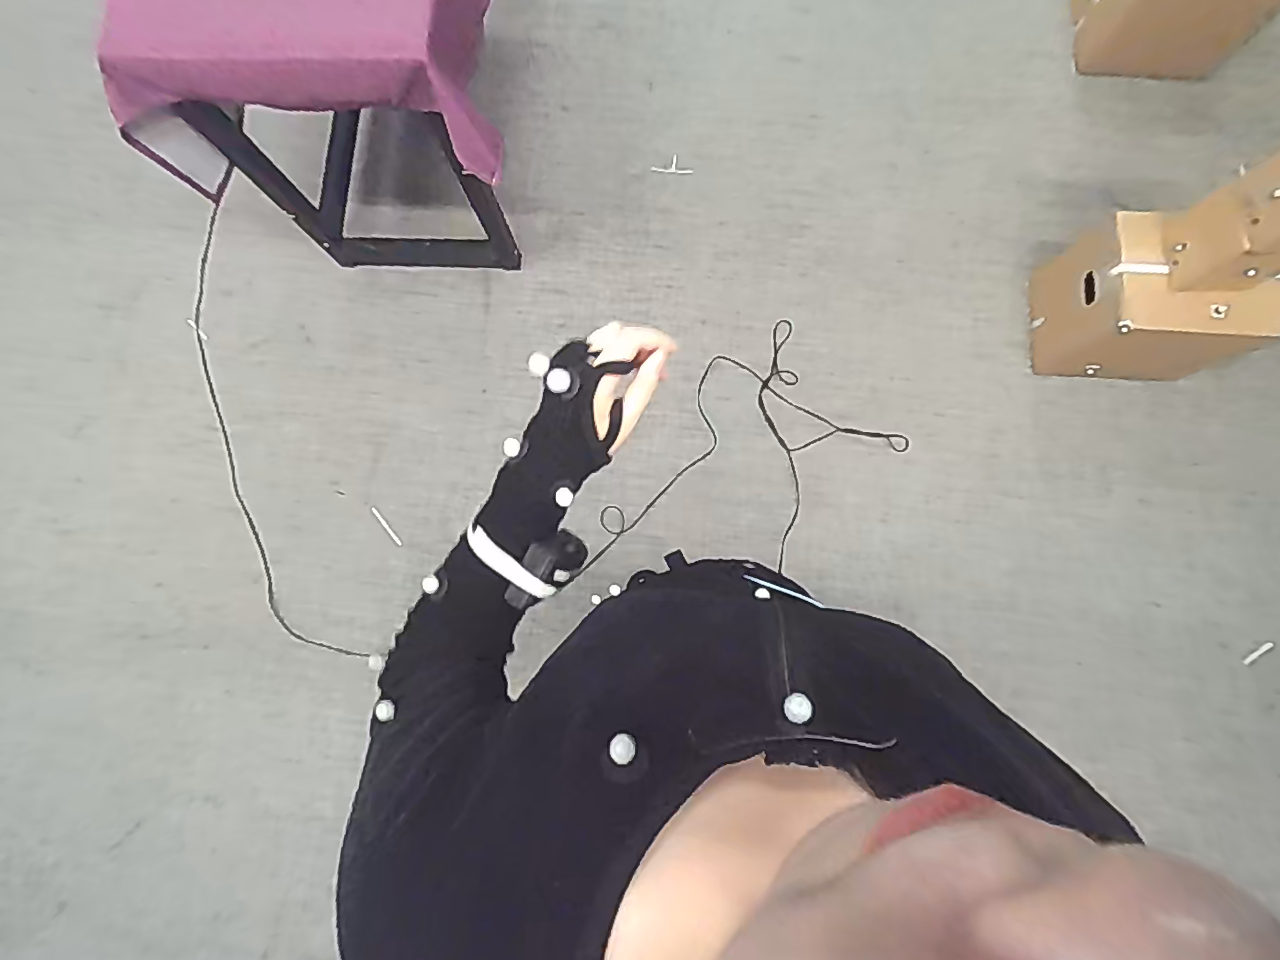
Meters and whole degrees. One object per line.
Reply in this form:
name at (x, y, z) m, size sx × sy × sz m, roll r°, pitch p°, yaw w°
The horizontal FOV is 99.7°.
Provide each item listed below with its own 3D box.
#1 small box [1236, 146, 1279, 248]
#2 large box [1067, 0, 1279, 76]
small box at (1.332, -0.575, 1.051) m, size 0.179 × 0.176 × 0.168 m, roll -4°, pitch 79°, yaw 1°
large box at (1.588, -1.465, 1.601) m, size 0.408 × 0.320 × 0.320 m, roll 4°, pitch 81°, yaw 1°
